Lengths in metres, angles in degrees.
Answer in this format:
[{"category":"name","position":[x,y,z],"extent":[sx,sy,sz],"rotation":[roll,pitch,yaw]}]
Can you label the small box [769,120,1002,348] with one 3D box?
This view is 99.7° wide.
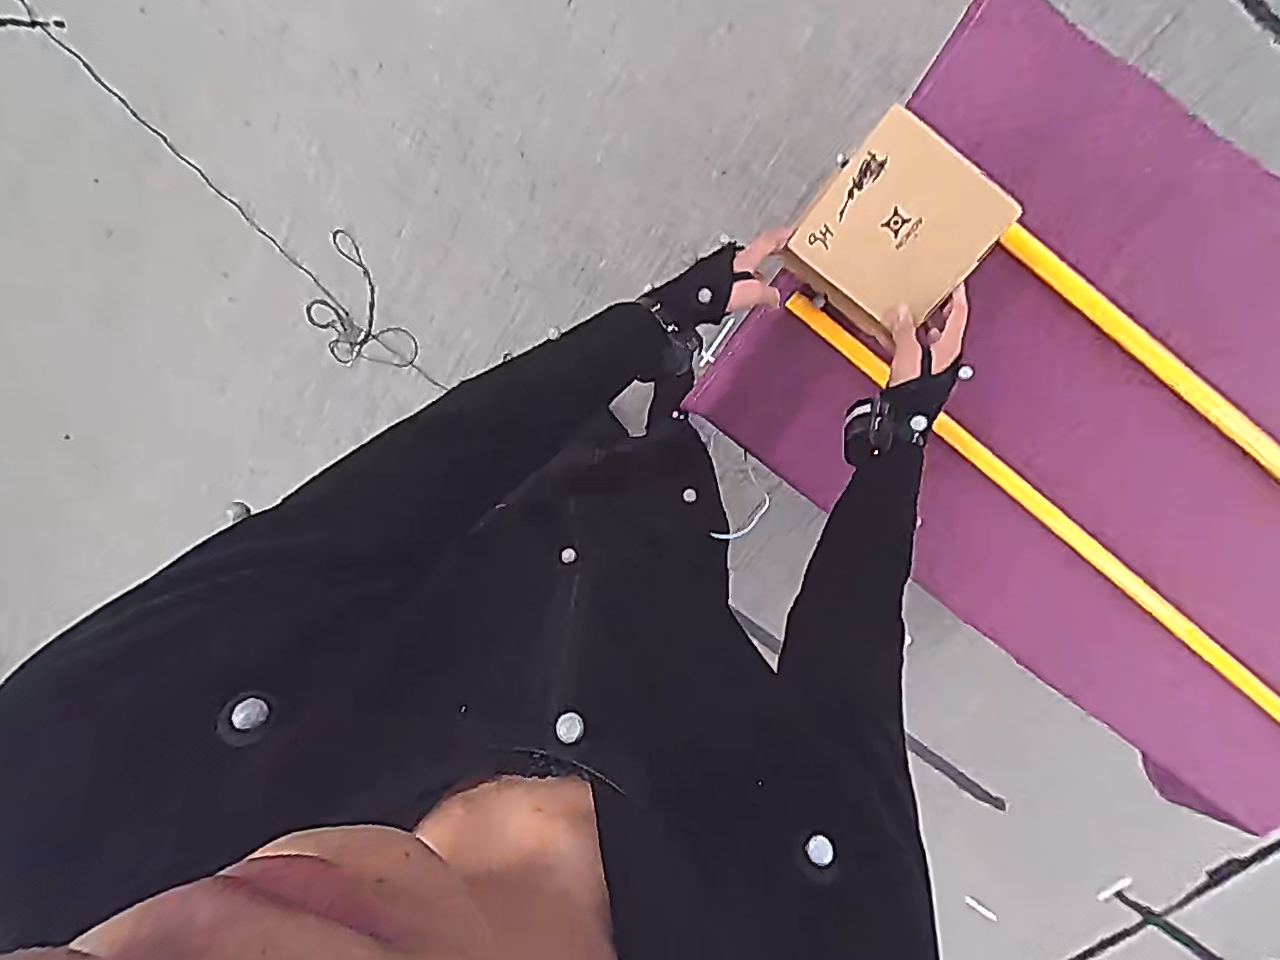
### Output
[{"category":"small box","position":[0.281,-0.290,0.664],"extent":[0.179,0.176,0.168],"rotation":[37,110,-6]}]
